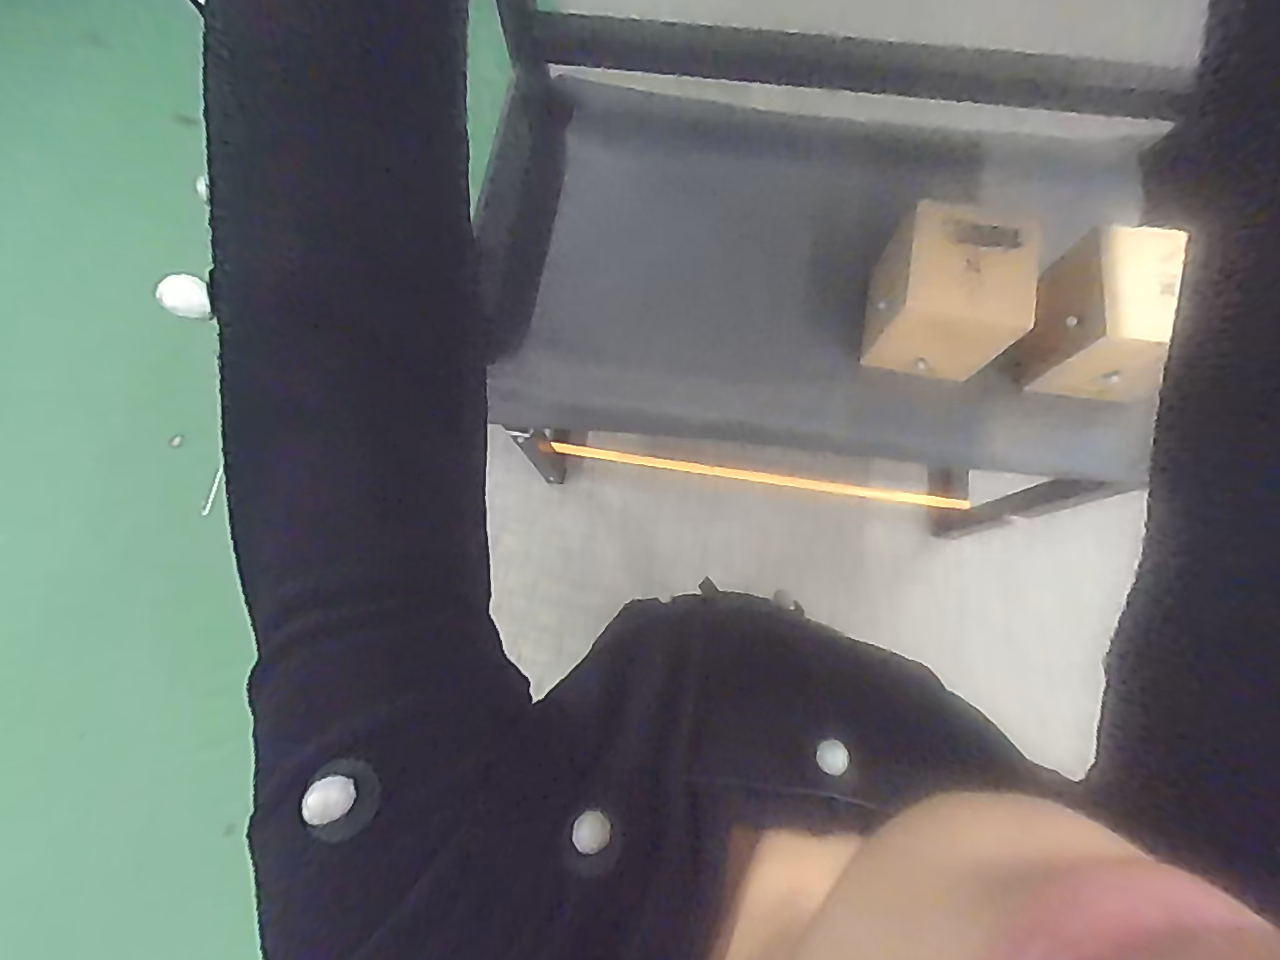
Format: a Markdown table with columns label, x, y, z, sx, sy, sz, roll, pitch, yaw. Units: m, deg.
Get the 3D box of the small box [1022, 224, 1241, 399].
| label | x | y | z | sx | sy | sz | roll | pitch | yaw |
| --- | --- | --- | --- | --- | --- | --- | --- | --- | --- |
| small box | 0.691 | -0.234 | 0.784 | 0.168 | 0.176 | 0.179 | 8 | 74 | 3 |
